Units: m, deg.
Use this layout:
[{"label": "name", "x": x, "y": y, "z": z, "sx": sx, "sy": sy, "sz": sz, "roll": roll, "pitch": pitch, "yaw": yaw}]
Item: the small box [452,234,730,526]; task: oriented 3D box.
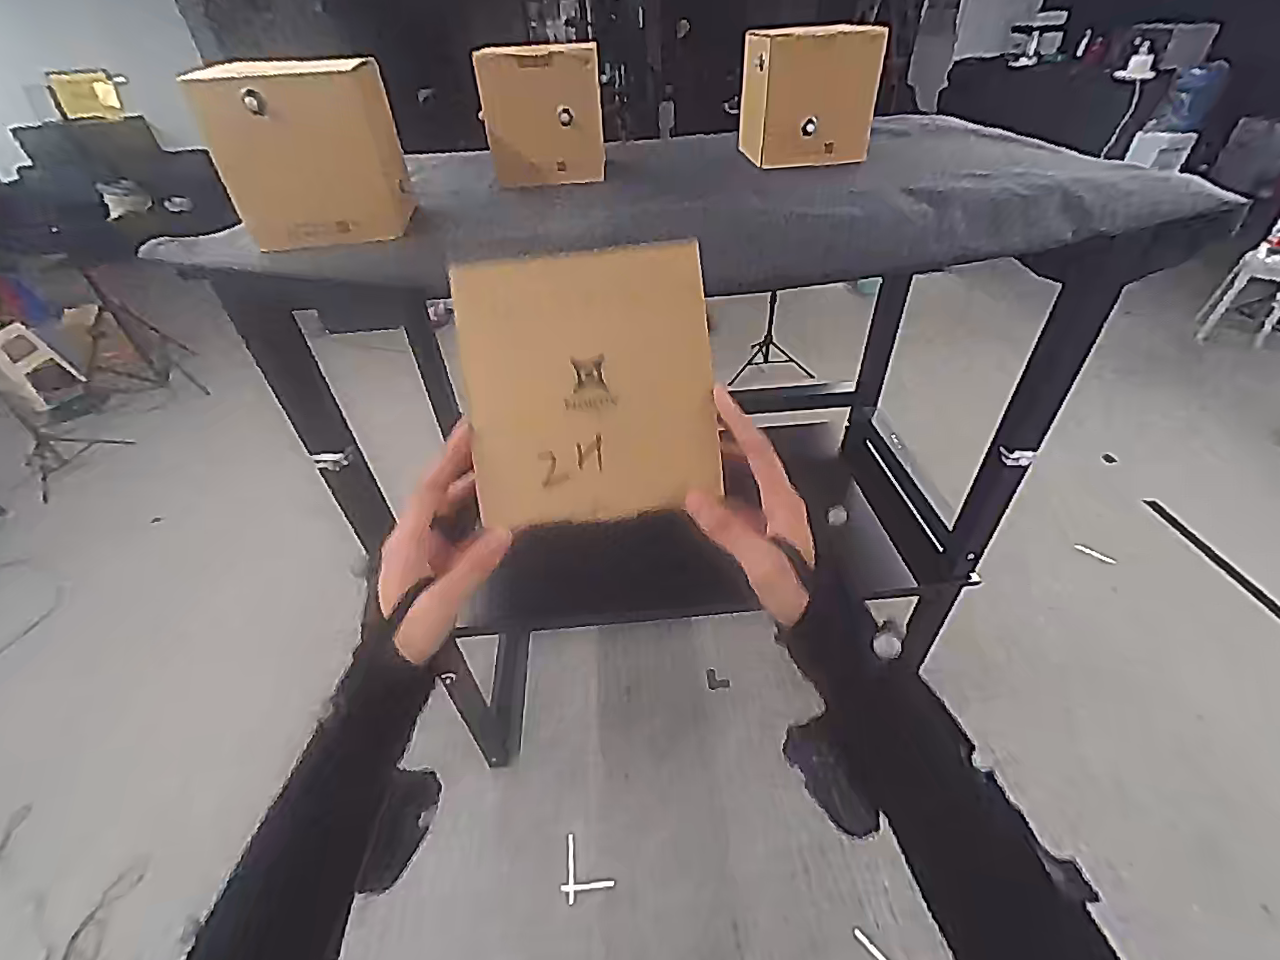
[{"label": "small box", "x": -0.032, "y": -0.068, "z": 0.427, "sx": 0.168, "sy": 0.179, "sz": 0.176, "roll": -7, "pitch": 4, "yaw": -1}]

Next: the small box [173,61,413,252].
[{"label": "small box", "x": -0.384, "y": -0.386, "z": 0.644, "sx": 0.168, "sy": 0.176, "sz": 0.179, "roll": -10, "pitch": 41, "yaw": -7}]

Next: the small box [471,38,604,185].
[{"label": "small box", "x": -0.144, "y": -0.565, "z": 0.836, "sx": 0.168, "sy": 0.176, "sz": 0.179, "roll": -3, "pitch": 42, "yaw": 0}]

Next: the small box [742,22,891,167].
[{"label": "small box", "x": 0.261, "y": -0.606, "z": 0.851, "sx": 0.168, "sy": 0.176, "sz": 0.179, "roll": -5, "pitch": 42, "yaw": -1}]
